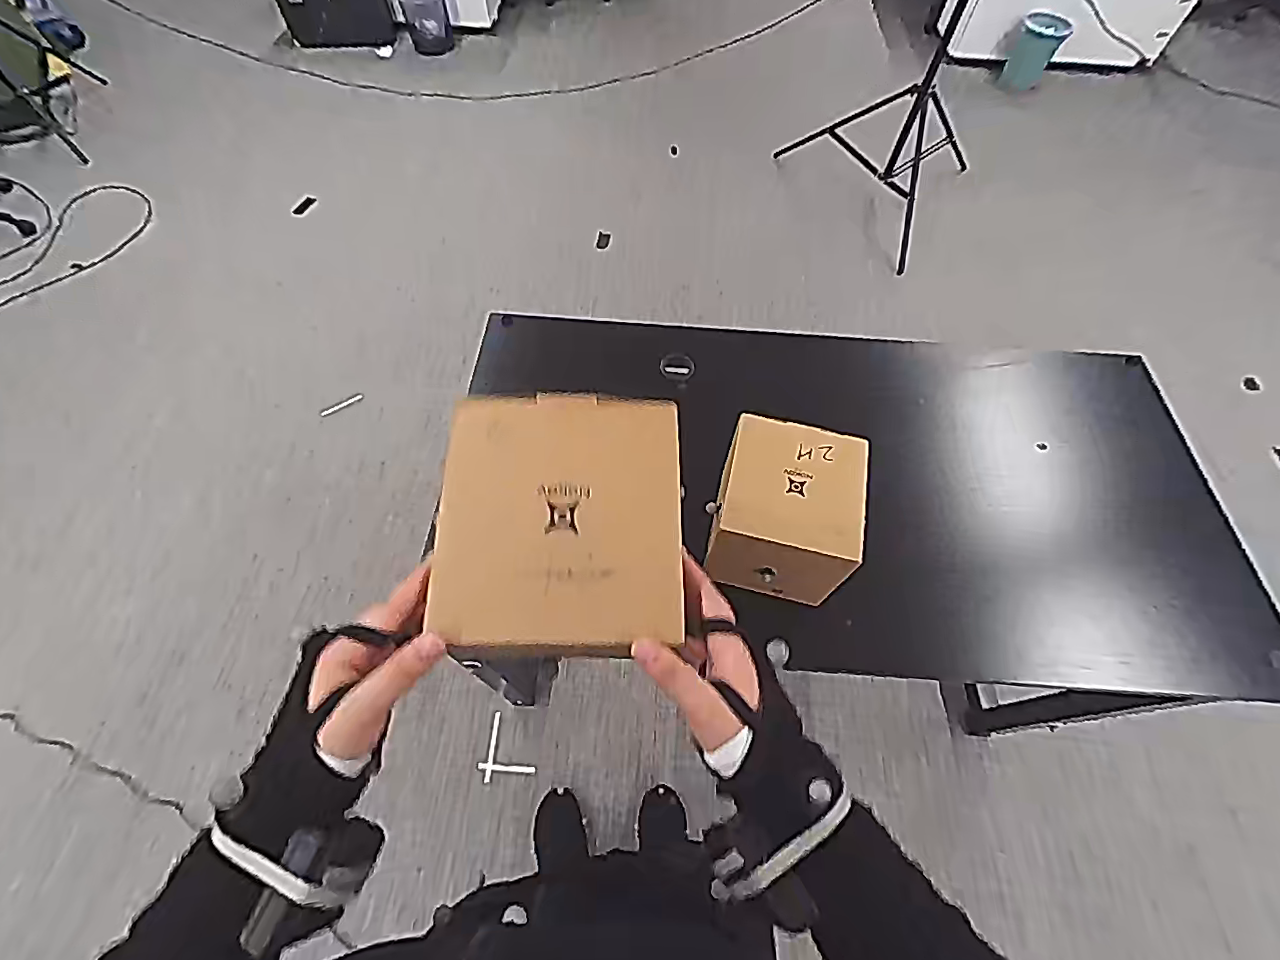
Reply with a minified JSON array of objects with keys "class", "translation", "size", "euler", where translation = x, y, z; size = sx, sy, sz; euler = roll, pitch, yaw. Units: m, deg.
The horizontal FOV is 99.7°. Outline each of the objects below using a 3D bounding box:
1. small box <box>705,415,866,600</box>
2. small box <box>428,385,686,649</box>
[{"class":"small box","translation":[0.188,0.044,0.731],"size":[0.168,0.176,0.179],"euler":[13,60,5]},{"class":"small box","translation":[-0.058,0.042,0.445],"size":[0.168,0.176,0.179],"euler":[1,69,-4]}]
